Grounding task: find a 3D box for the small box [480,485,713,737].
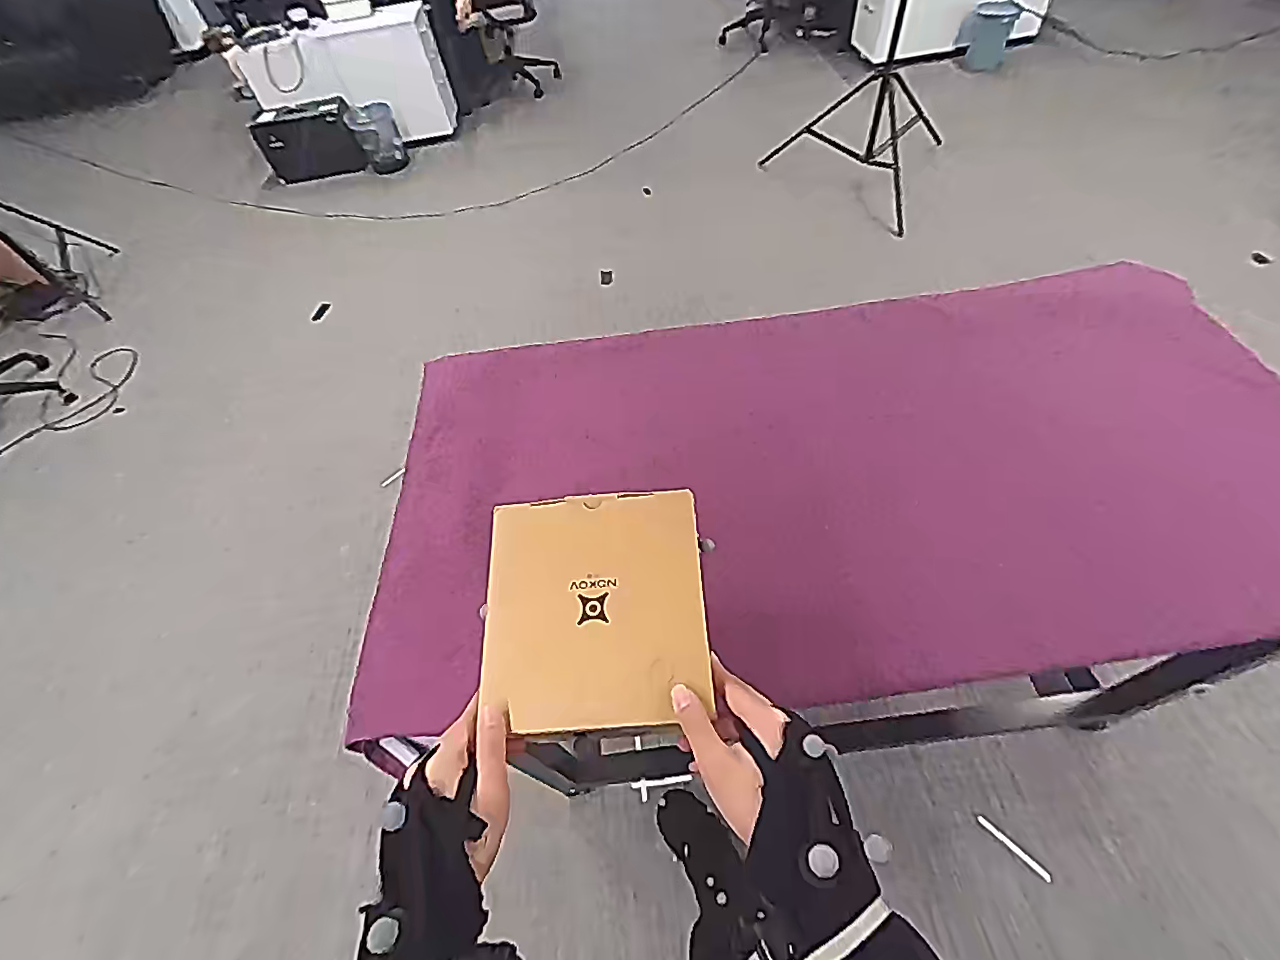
[{"bbox_3d":[-0.026,0.125,0.474,0.168,0.176,0.179,-6,61,3],"label":"small box"}]
